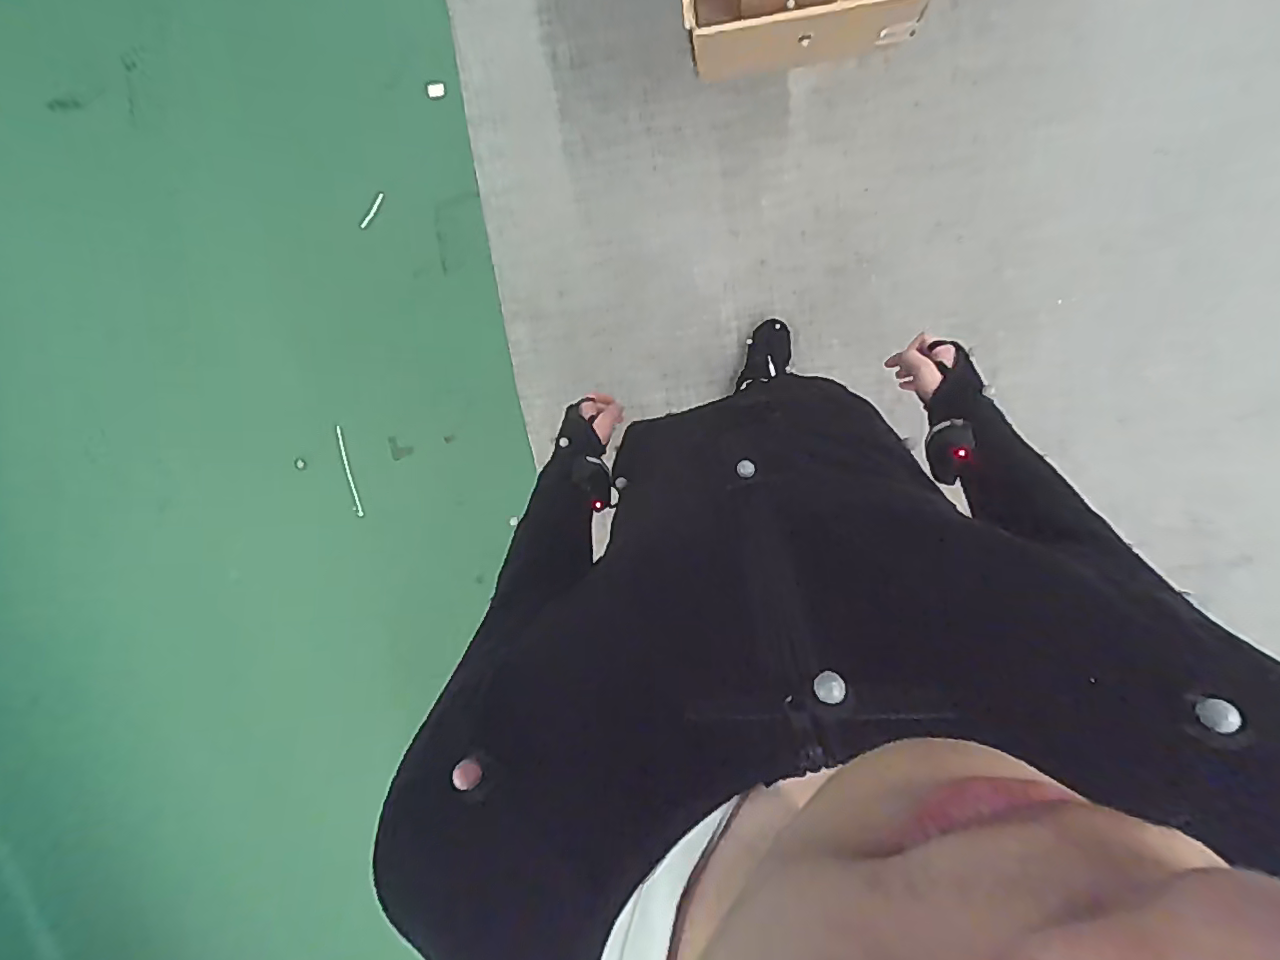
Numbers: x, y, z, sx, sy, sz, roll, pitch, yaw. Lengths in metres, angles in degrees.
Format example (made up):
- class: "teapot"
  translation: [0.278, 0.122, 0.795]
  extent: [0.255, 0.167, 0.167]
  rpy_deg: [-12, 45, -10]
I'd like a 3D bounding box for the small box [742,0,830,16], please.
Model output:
- class: "small box"
  translation: [0.243, -0.900, 0.863]
  extent: [0.168, 0.176, 0.179]
  rpy_deg: [-2, 104, 11]
